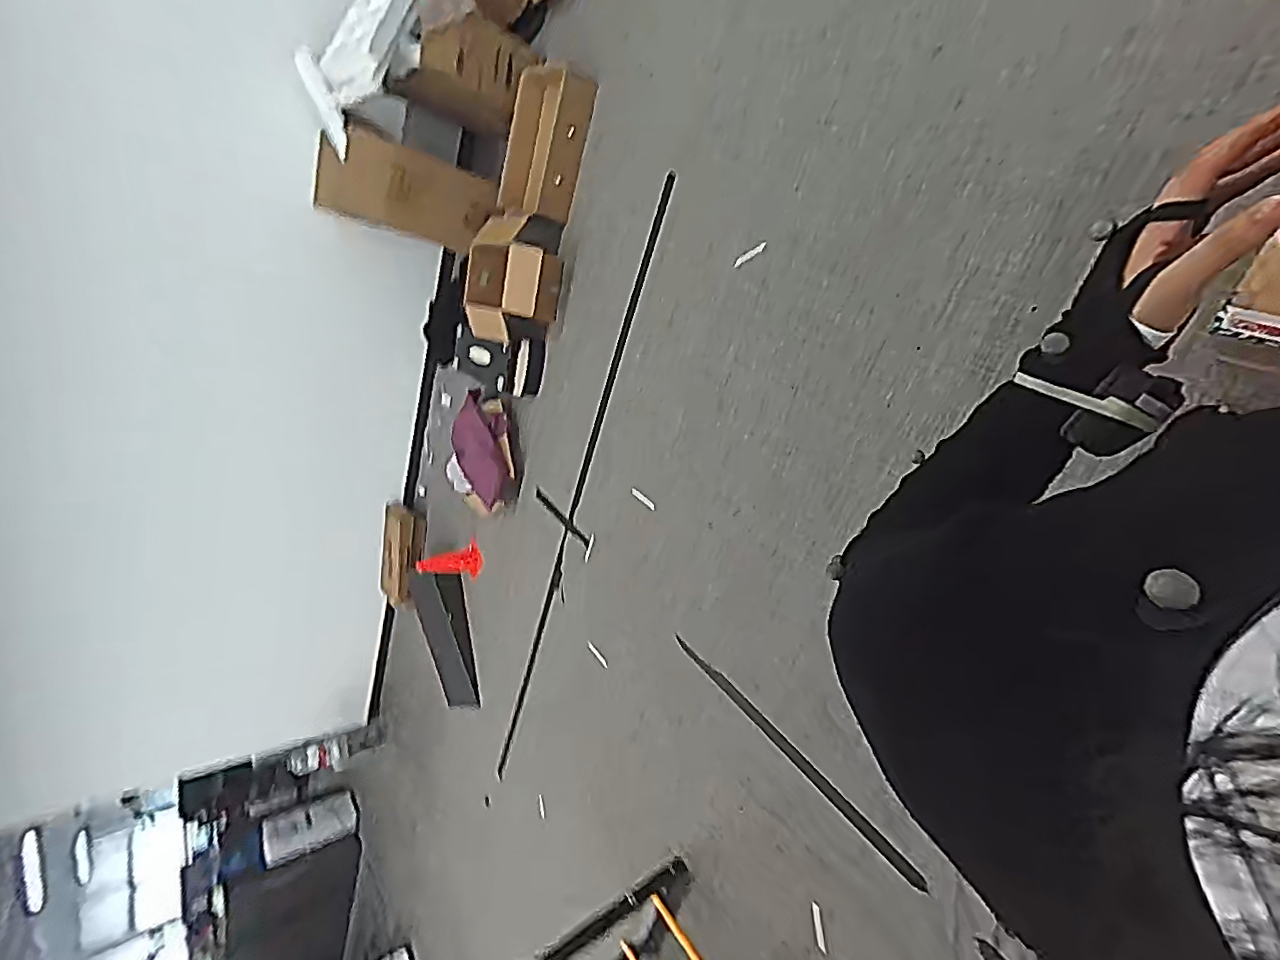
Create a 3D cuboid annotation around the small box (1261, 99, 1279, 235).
[{"bbox_3d":[0.446,-0.227,0.263,0.168,0.176,0.179,10,109,49],"label":"small box"}]
